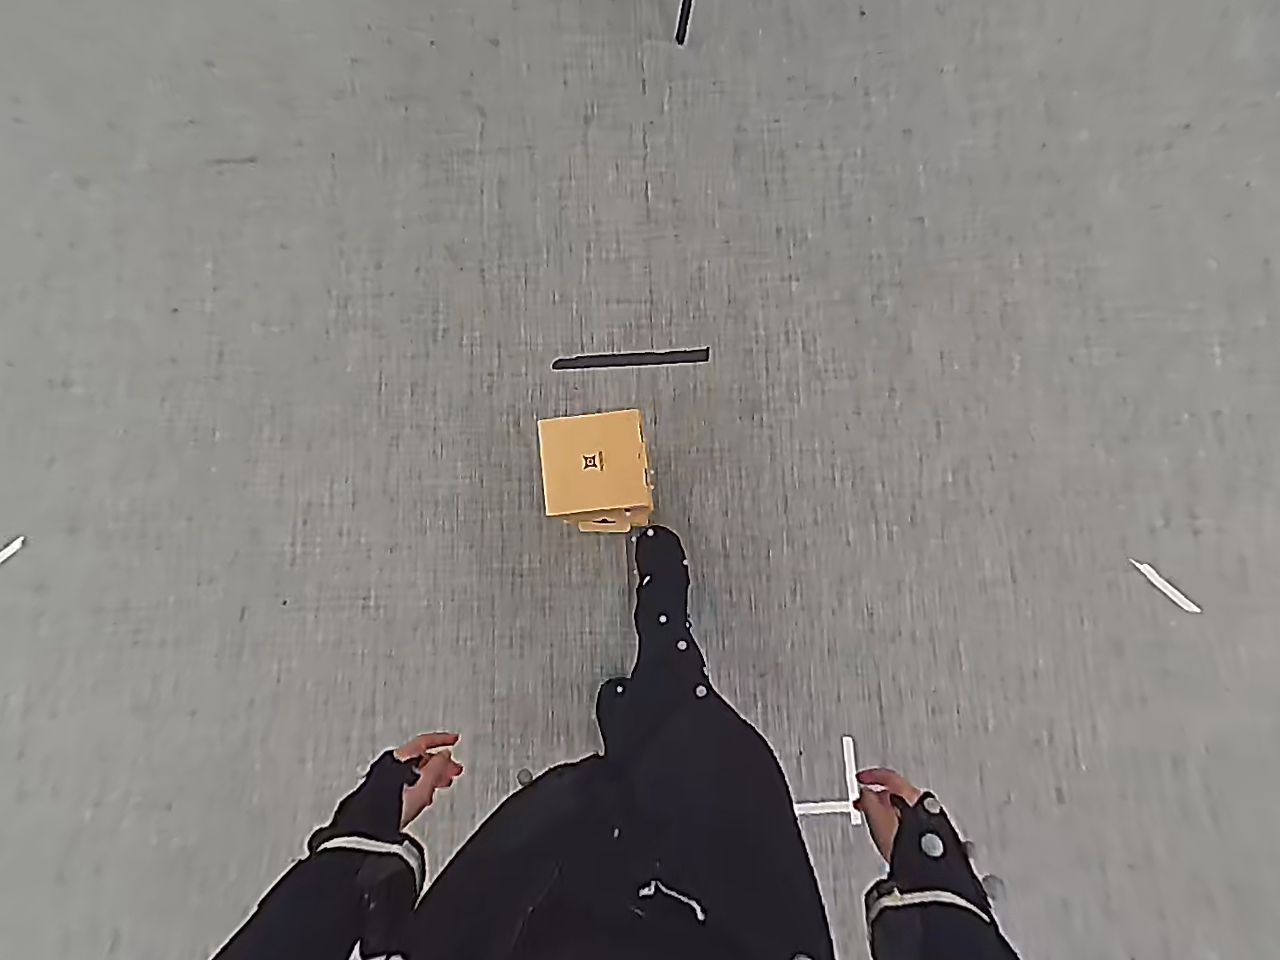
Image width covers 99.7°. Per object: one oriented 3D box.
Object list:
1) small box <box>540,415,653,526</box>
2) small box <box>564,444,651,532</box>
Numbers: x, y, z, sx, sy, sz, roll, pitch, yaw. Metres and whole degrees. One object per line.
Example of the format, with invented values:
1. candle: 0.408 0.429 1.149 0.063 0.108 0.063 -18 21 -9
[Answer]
1. small box: -0.072 -0.009 0.981 0.179 0.176 0.168 -7 82 1
2. small box: -0.062 0.020 1.141 0.168 0.176 0.179 0 82 2
